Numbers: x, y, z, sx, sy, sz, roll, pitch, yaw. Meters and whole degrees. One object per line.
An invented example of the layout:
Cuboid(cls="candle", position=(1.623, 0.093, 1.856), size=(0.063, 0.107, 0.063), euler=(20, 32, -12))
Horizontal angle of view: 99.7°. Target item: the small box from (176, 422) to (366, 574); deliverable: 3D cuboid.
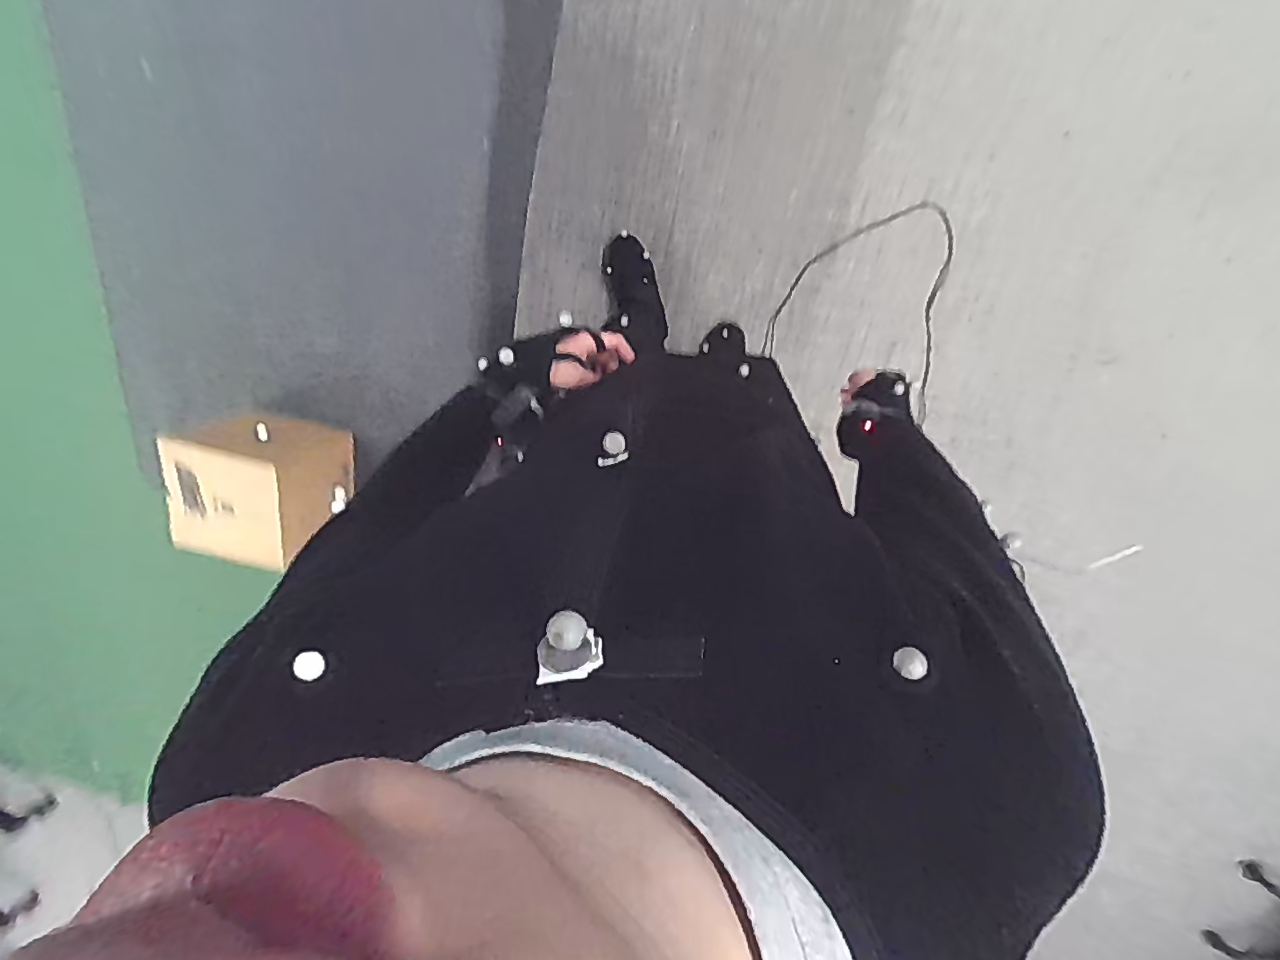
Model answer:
Cuboid(cls="small box", position=(-0.559, 0.018, 0.841), size=(0.179, 0.176, 0.168), euler=(12, 112, 3))
